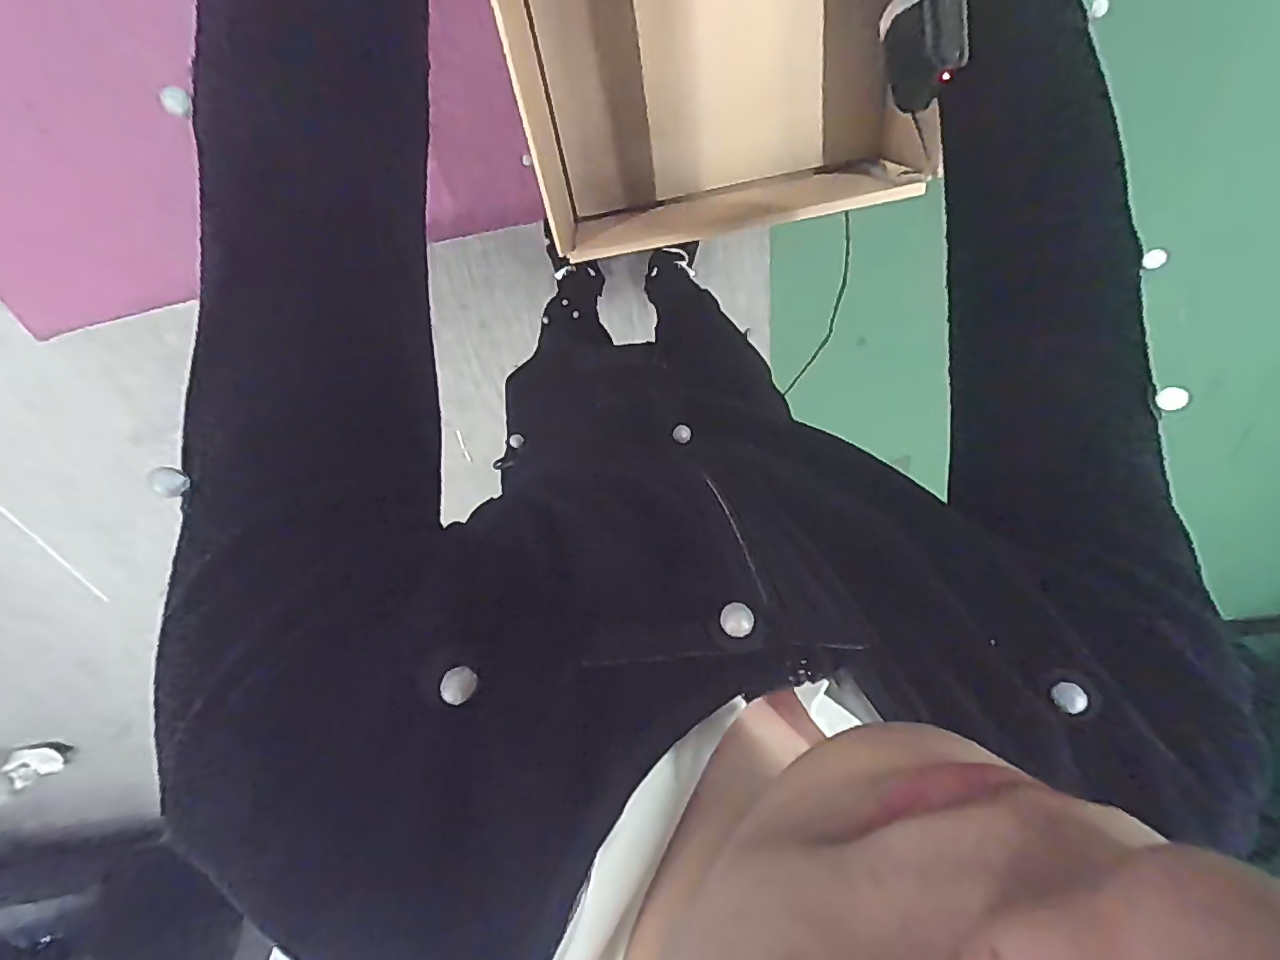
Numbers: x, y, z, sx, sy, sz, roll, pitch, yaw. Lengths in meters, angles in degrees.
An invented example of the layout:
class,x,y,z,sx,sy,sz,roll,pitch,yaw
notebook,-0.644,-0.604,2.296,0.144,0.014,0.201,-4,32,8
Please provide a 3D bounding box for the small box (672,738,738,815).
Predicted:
class,x,y,z,sx,sy,sz,roll,pitch,yaw
small box,0.226,1.064,1.942,0.179,0.176,0.168,-34,121,18
